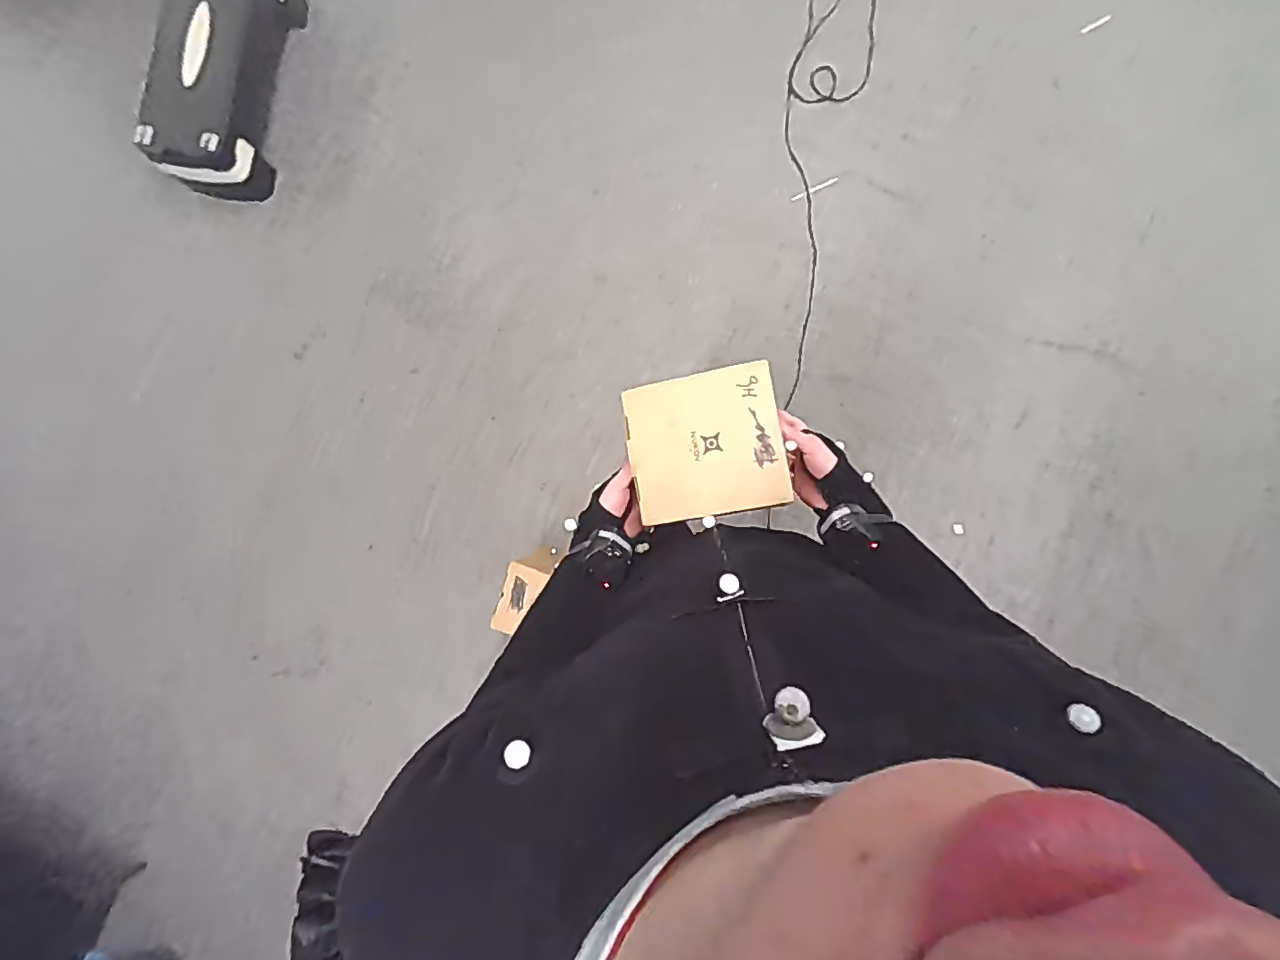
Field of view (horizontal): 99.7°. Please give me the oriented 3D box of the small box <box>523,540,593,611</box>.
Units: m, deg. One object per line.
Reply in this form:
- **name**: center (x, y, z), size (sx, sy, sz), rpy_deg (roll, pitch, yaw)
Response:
- **small box**: center (-0.246, 0.273, 1.510), size (0.179, 0.176, 0.168), rpy_deg (19, 92, 3)

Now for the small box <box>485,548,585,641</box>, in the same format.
- **small box**: center (-0.253, 0.275, 1.345), size (0.179, 0.176, 0.168), rpy_deg (19, 91, 4)
